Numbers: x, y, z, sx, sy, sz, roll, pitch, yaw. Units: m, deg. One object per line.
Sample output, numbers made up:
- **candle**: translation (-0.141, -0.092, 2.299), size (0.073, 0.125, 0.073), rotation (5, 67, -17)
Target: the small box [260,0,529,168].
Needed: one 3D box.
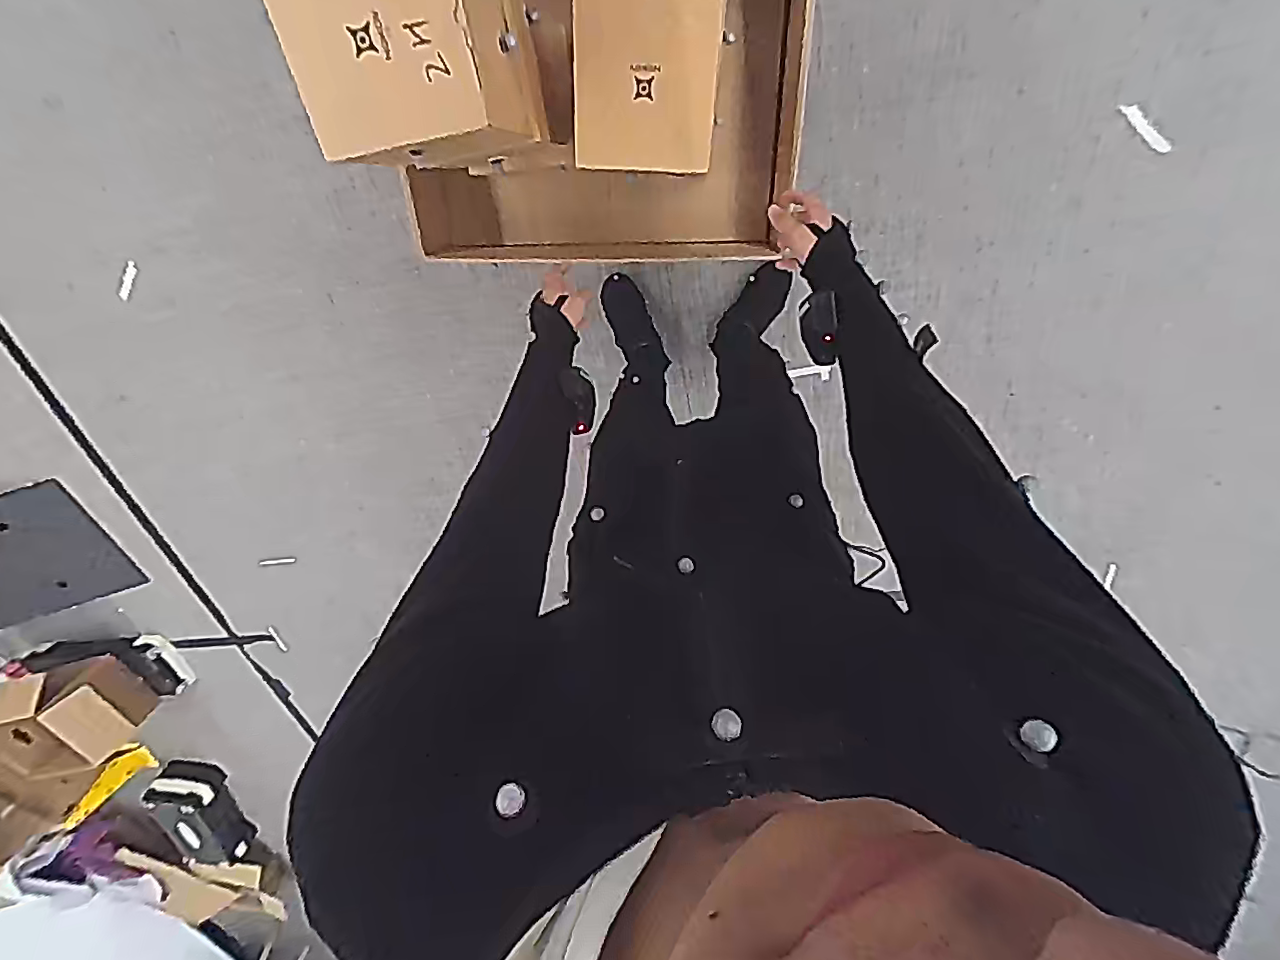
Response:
- **small box**: translation (-0.233, -0.425, 0.551), size (0.179, 0.176, 0.168), rotation (-6, 119, 8)

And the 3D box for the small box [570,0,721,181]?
- **small box**: translation (0.012, -0.483, 0.684), size (0.168, 0.176, 0.179), rotation (5, 119, 5)
